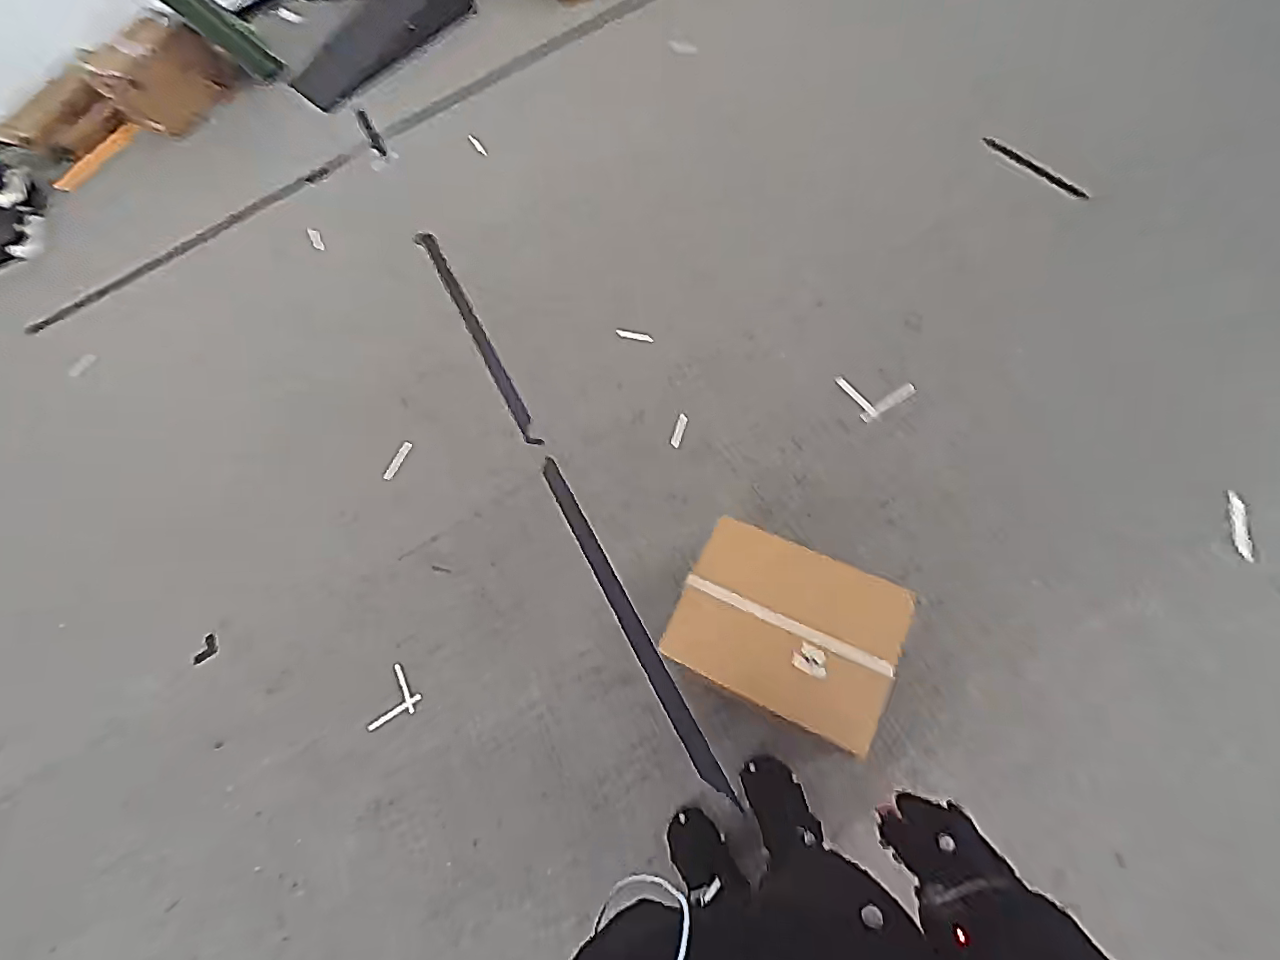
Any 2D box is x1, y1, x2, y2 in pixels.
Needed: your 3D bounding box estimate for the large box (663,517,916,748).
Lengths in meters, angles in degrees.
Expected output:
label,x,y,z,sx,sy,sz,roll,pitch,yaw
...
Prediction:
label,x,y,z,sx,sy,sz,roll,pitch,yaw
large box,0.306,0.332,1.173,0.408,0.320,0.320,22,72,19
